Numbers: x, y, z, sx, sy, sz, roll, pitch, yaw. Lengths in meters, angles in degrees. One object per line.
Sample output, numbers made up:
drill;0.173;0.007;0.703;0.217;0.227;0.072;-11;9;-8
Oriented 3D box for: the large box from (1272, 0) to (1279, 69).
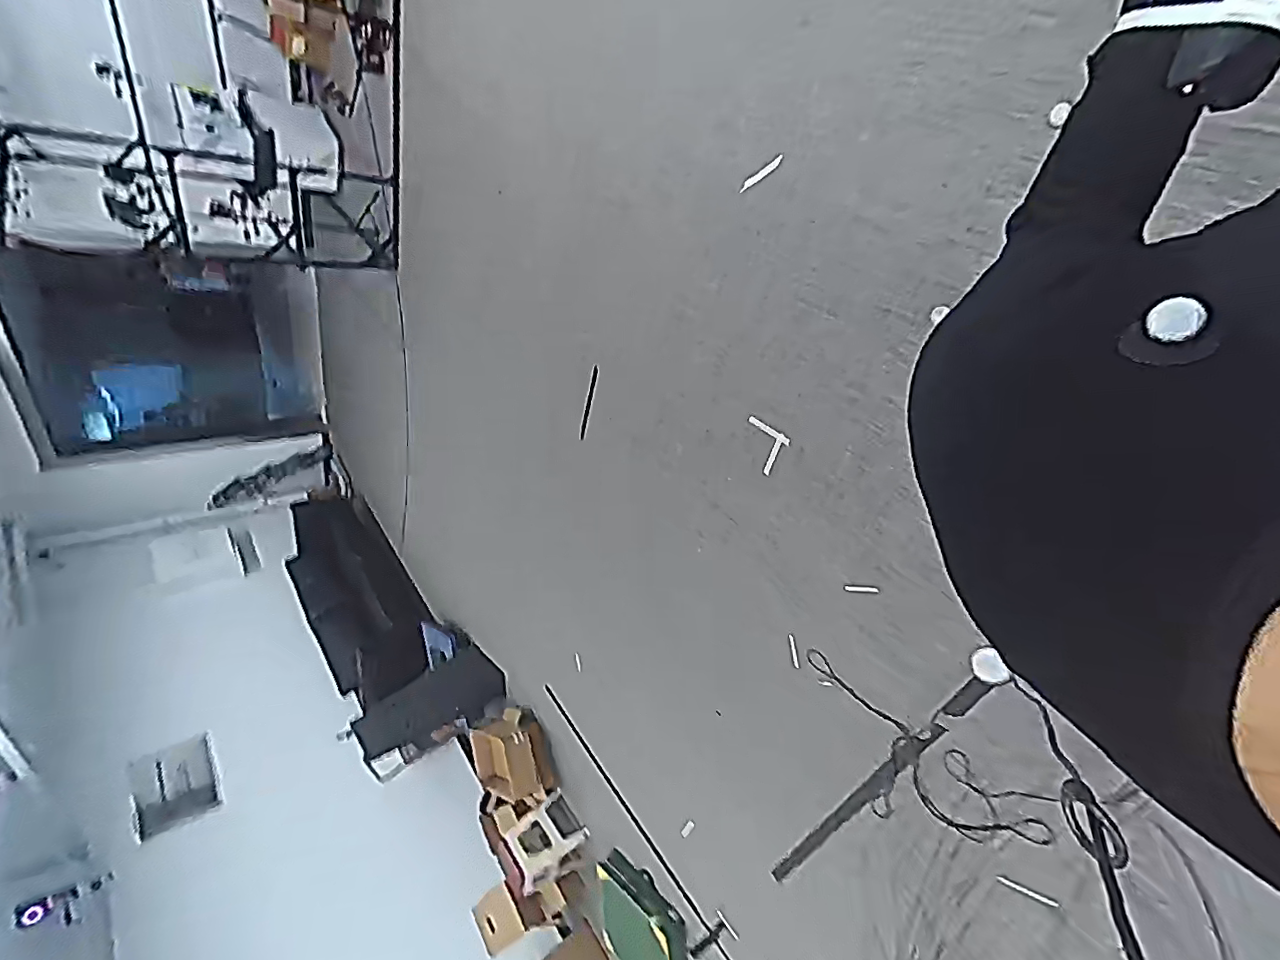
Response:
large box;0.615;-0.392;0.213;0.408;0.320;0.320;30;129;39
